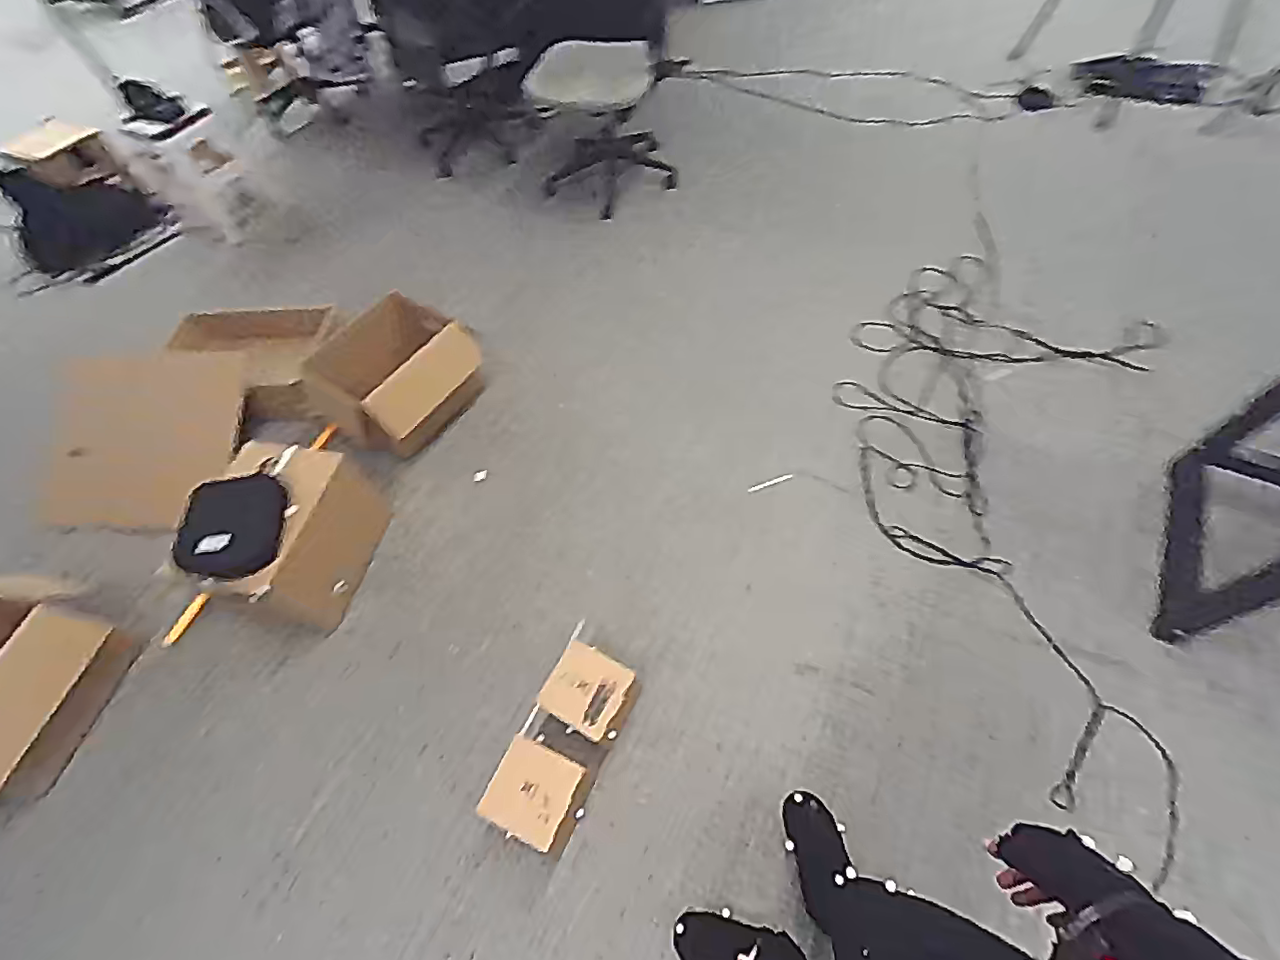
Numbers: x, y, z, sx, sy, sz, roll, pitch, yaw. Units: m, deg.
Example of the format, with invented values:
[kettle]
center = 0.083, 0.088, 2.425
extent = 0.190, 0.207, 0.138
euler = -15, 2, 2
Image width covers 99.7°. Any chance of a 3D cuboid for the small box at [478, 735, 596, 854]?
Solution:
[small box]
center = -0.217, 0.693, 1.193
extent = 0.179, 0.176, 0.168
euler = 19, 62, 17
